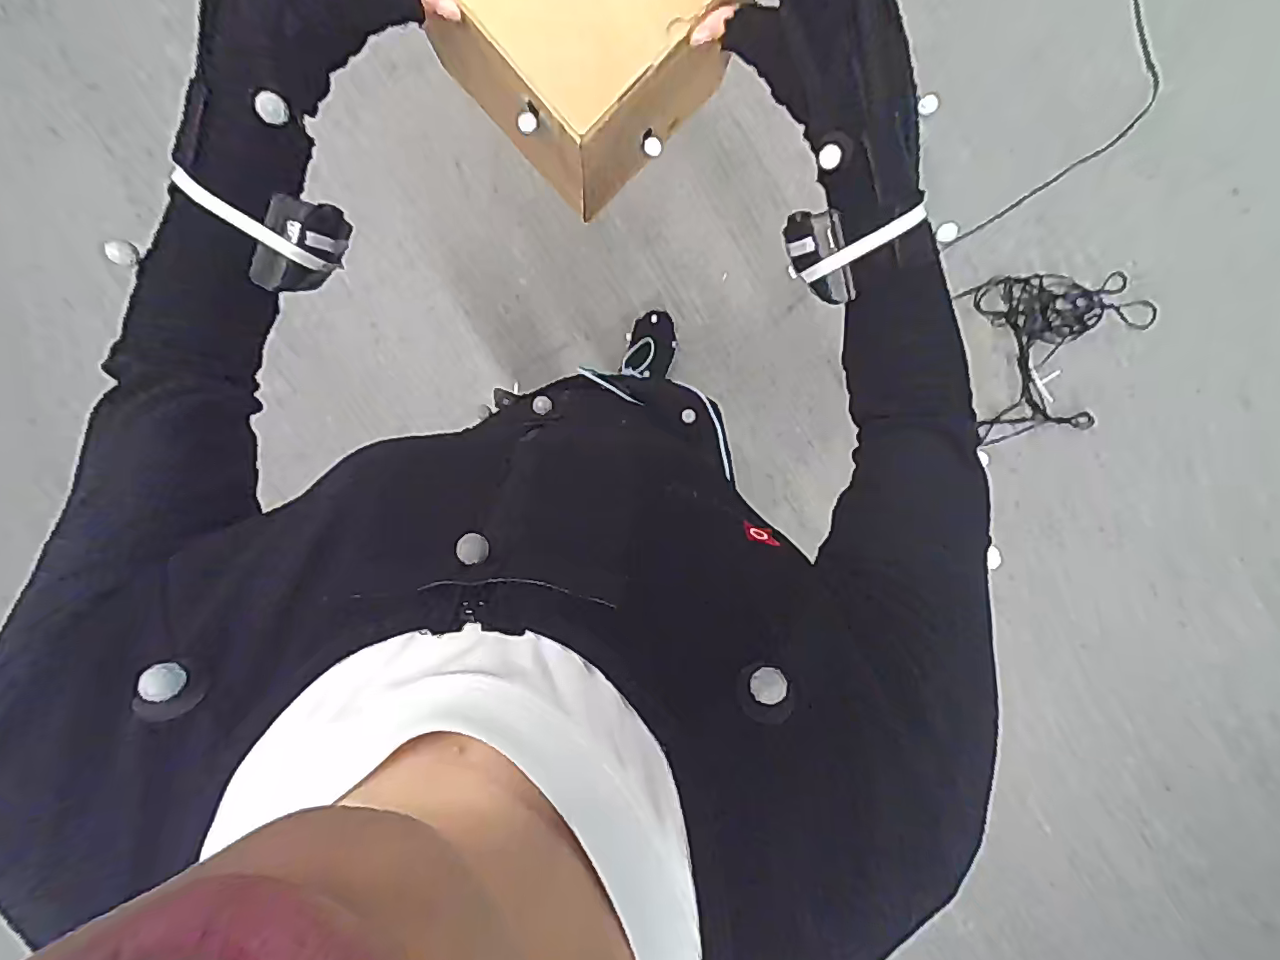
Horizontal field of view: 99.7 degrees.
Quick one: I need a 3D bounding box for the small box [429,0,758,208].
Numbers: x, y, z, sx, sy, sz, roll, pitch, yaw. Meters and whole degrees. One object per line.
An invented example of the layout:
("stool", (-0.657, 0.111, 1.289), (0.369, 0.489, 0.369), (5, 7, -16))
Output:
("small box", (-0.038, -0.337, 0.388), (0.168, 0.176, 0.179), (-44, 101, 4))
